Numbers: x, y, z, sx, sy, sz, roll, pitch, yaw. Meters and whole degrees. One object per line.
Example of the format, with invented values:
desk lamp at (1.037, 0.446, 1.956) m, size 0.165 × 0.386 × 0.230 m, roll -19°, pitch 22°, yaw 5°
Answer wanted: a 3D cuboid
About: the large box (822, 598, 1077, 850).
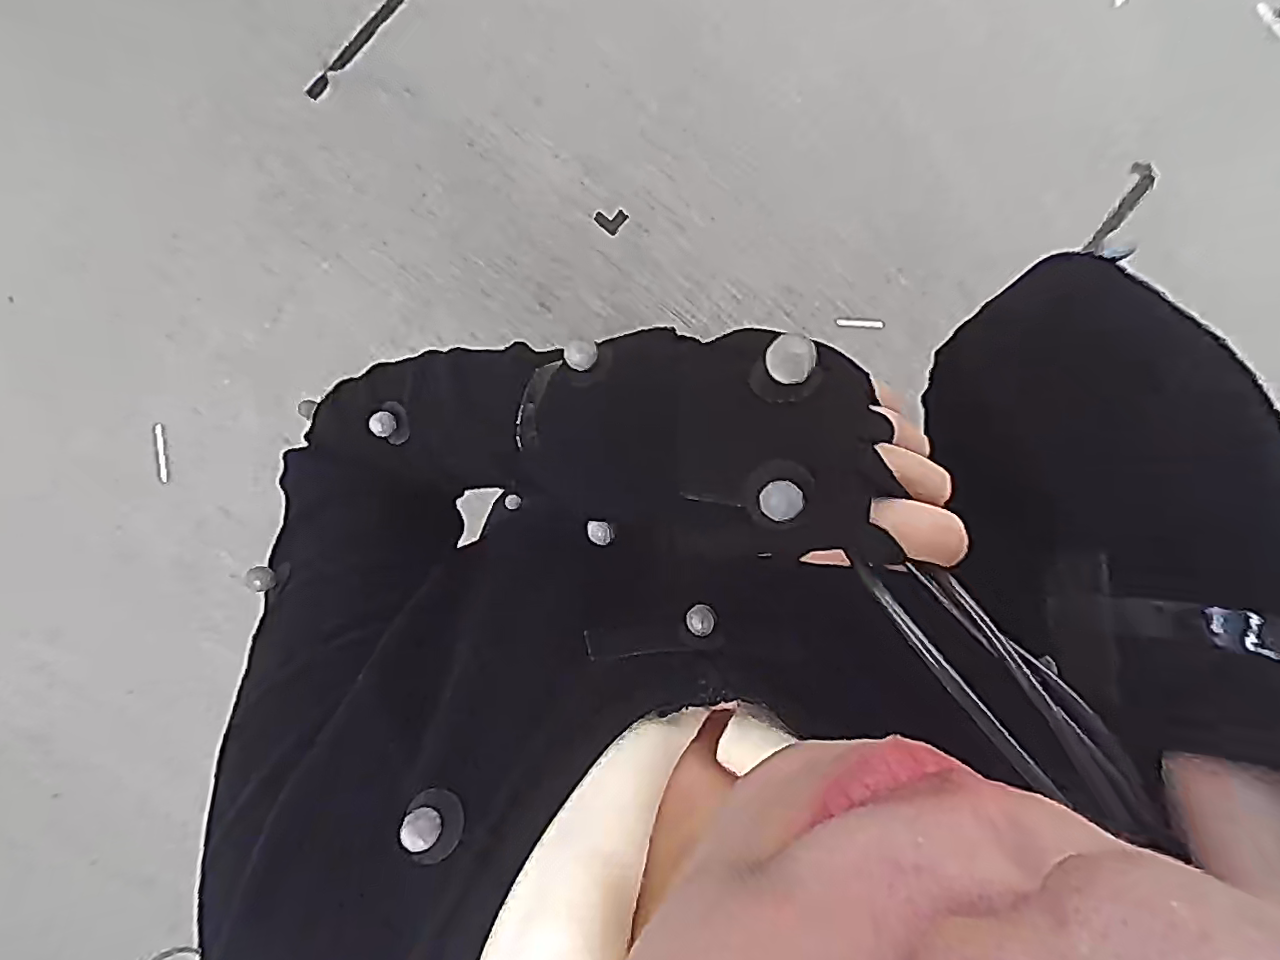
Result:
large box at (0.716, 0.559, 1.305) m, size 0.320 × 0.320 × 0.408 m, roll 26°, pitch 92°, yaw -8°
